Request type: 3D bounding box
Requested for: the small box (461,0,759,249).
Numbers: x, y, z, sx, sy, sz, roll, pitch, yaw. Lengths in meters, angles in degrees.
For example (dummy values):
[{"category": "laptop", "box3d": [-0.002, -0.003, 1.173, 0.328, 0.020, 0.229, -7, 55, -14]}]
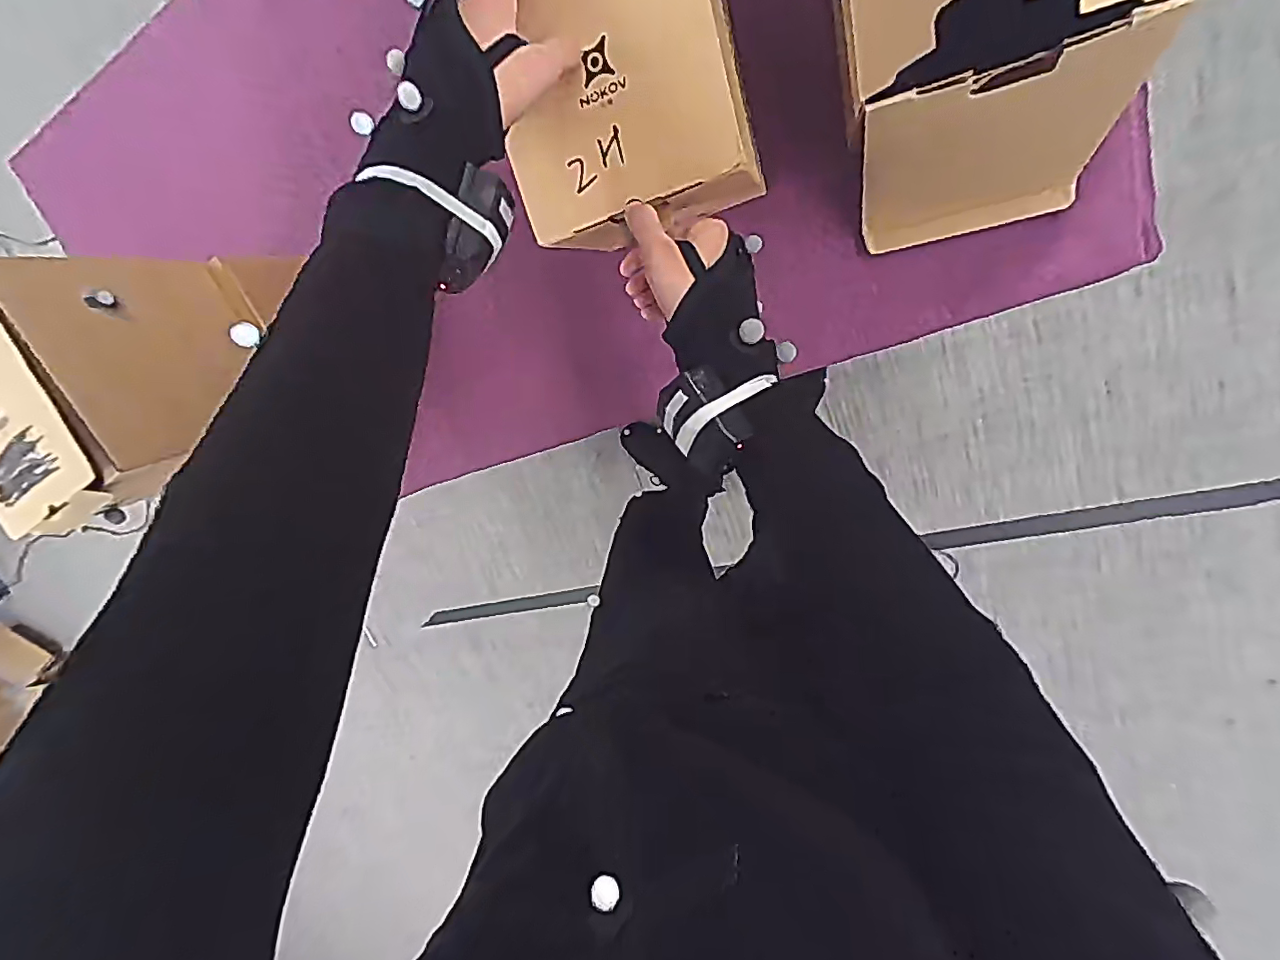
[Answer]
[{"category": "small box", "box3d": [-0.006, -0.302, 0.440, 0.168, 0.176, 0.179, -10, 108, 22]}]
